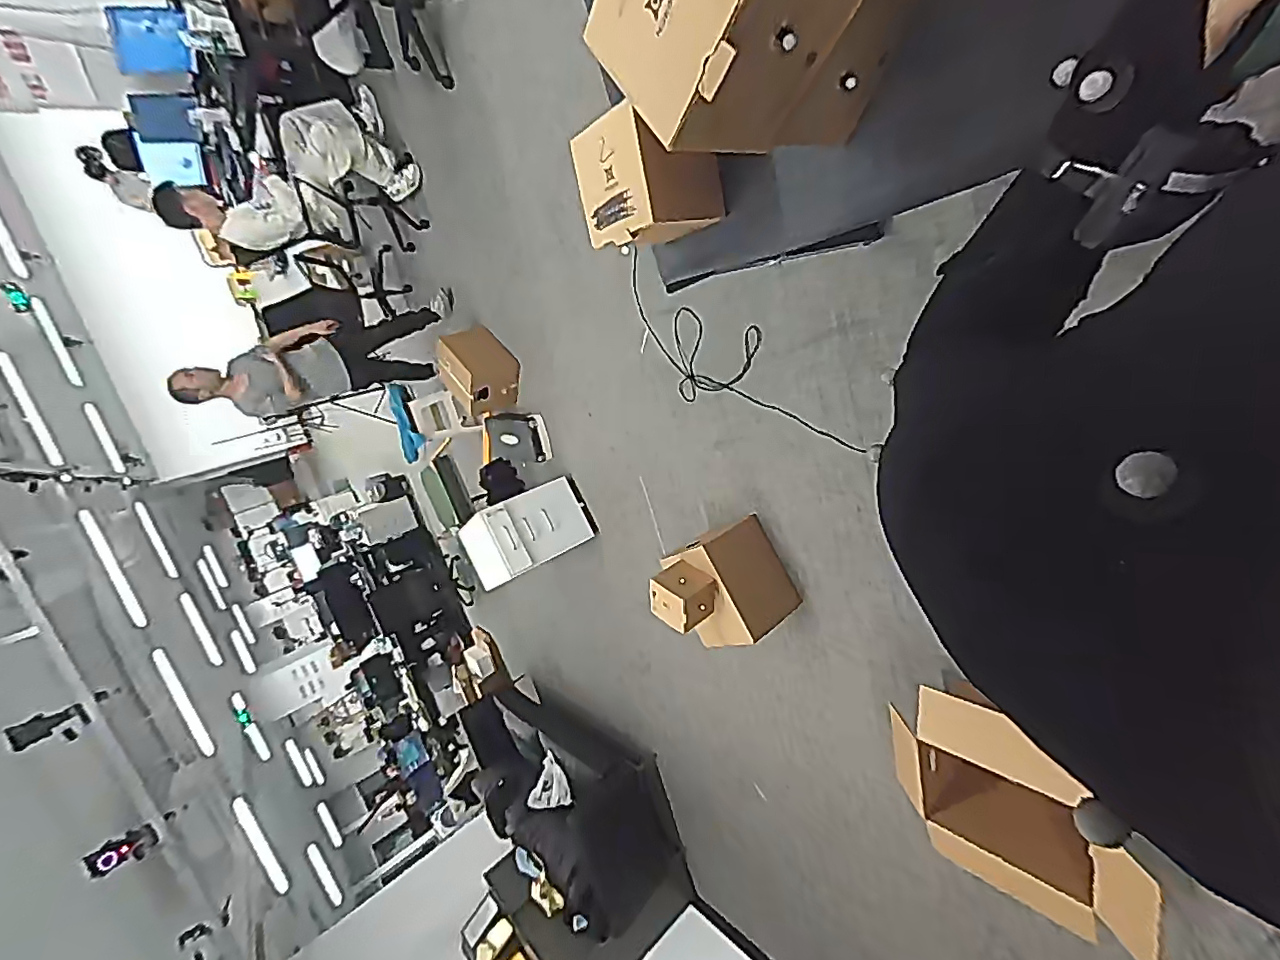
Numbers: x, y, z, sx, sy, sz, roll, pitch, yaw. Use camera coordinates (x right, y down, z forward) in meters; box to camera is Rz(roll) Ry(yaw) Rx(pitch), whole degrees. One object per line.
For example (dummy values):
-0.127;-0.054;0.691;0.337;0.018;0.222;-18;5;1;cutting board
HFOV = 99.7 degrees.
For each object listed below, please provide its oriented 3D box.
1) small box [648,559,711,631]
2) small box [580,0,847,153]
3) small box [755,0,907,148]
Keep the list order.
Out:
0.151;0.423;2.028;0.179;0.176;0.168;25;129;40;small box
0.072;-0.470;0.554;0.179;0.176;0.168;57;143;12;small box
0.181;-0.533;0.659;0.179;0.176;0.168;50;142;21;small box
